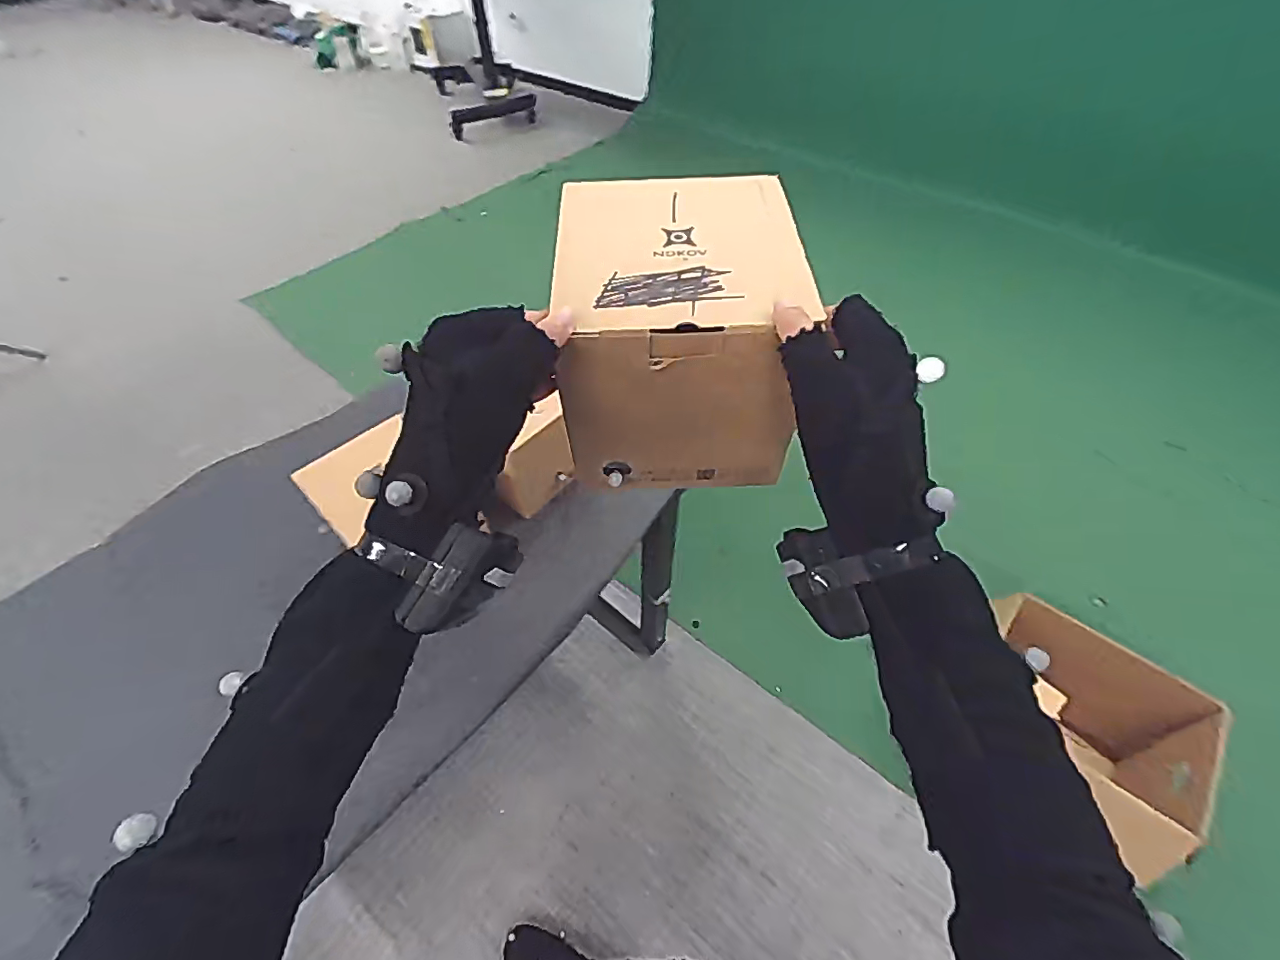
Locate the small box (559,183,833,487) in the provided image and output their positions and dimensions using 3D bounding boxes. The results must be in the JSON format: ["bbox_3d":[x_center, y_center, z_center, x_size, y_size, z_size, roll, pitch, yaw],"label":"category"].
[{"bbox_3d":[0.035,-0.106,0.429,0.168,0.176,0.179,-1,54,1],"label":"small box"}]

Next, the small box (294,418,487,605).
[{"bbox_3d":[-0.352,0.048,0.788,0.179,0.176,0.168,37,60,25],"label":"small box"}]
